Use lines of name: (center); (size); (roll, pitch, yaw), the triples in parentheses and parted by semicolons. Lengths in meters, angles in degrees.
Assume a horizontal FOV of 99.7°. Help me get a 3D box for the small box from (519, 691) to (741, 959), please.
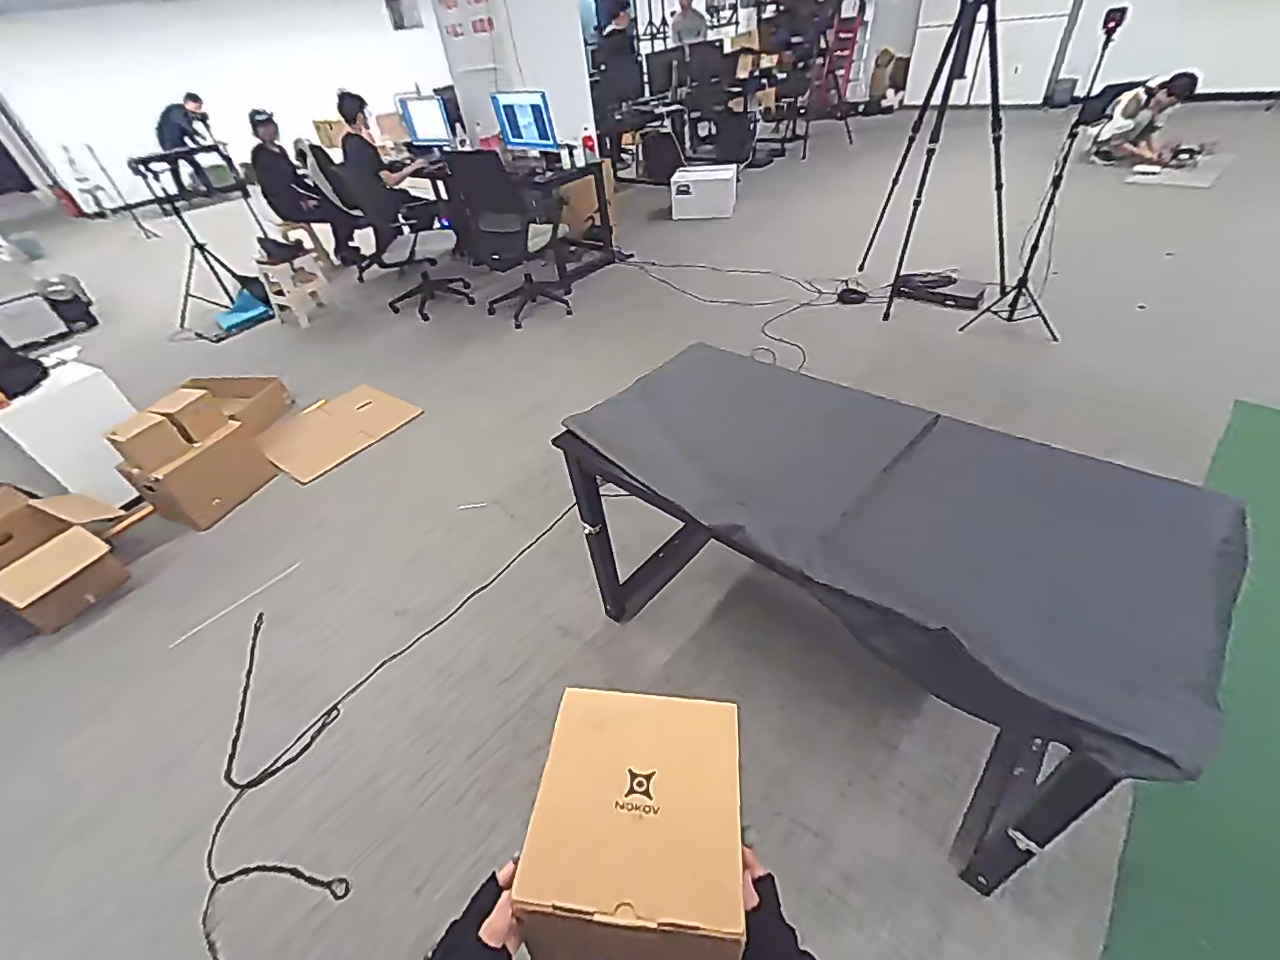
small box: (0.000, 0.328, 0.498); (0.168, 0.176, 0.179); (4, 35, 6)
